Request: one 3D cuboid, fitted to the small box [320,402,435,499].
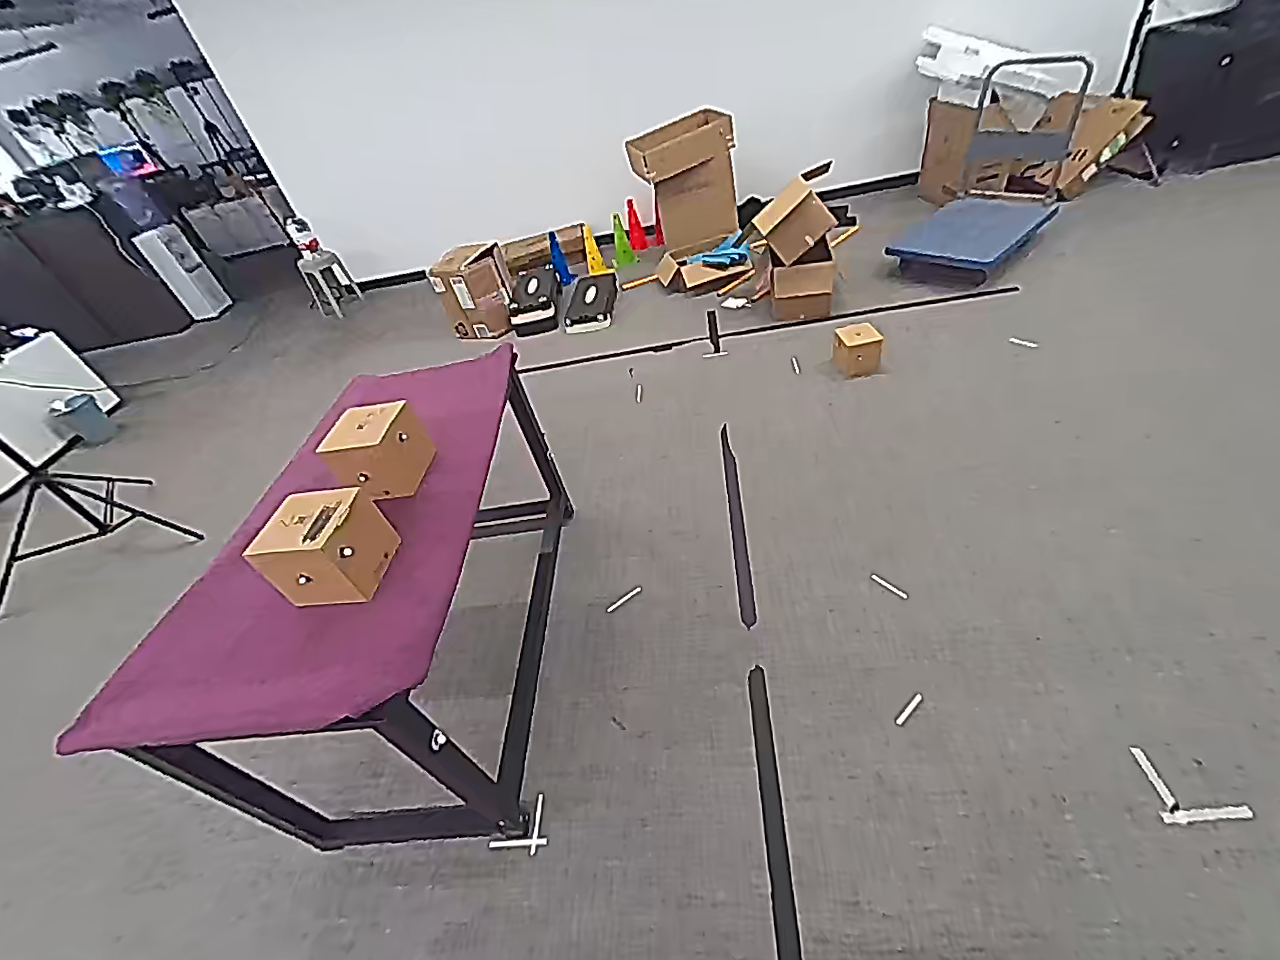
[{"bbox_3d":[-0.635,-0.066,1.337,0.168,0.176,0.179,-6,42,10],"label":"small box"}]

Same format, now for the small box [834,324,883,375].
[{"bbox_3d":[1.034,-0.612,2.570,0.168,0.176,0.179,-12,41,3],"label":"small box"}]
